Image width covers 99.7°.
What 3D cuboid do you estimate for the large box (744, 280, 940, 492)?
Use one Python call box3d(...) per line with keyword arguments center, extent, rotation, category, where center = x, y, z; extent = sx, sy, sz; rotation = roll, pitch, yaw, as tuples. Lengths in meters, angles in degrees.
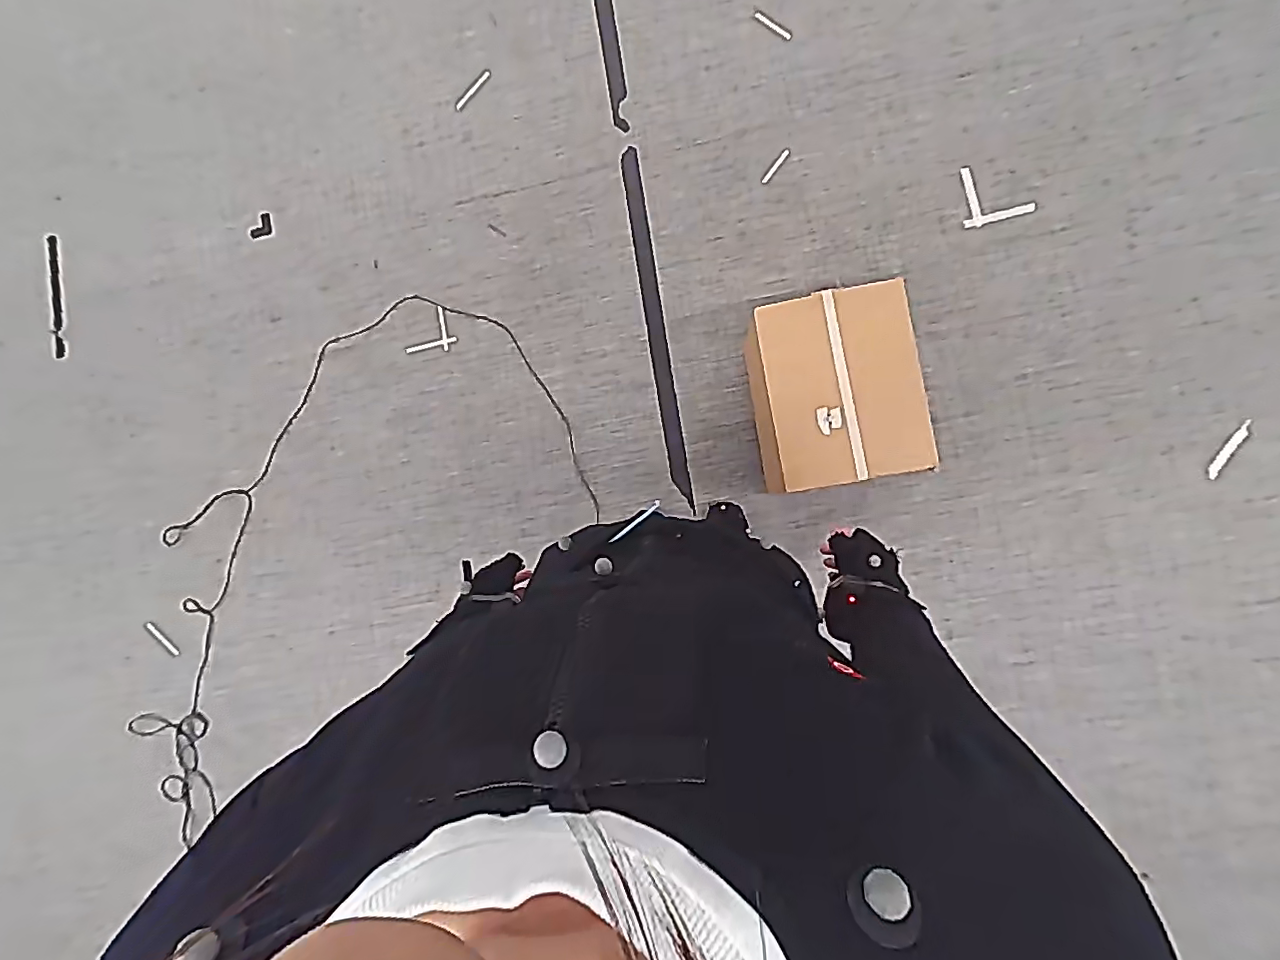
box3d(center=(0.447, -0.194, 1.280), extent=(0.320, 0.320, 0.408), rotation=(-10, 87, 7), category="large box")
